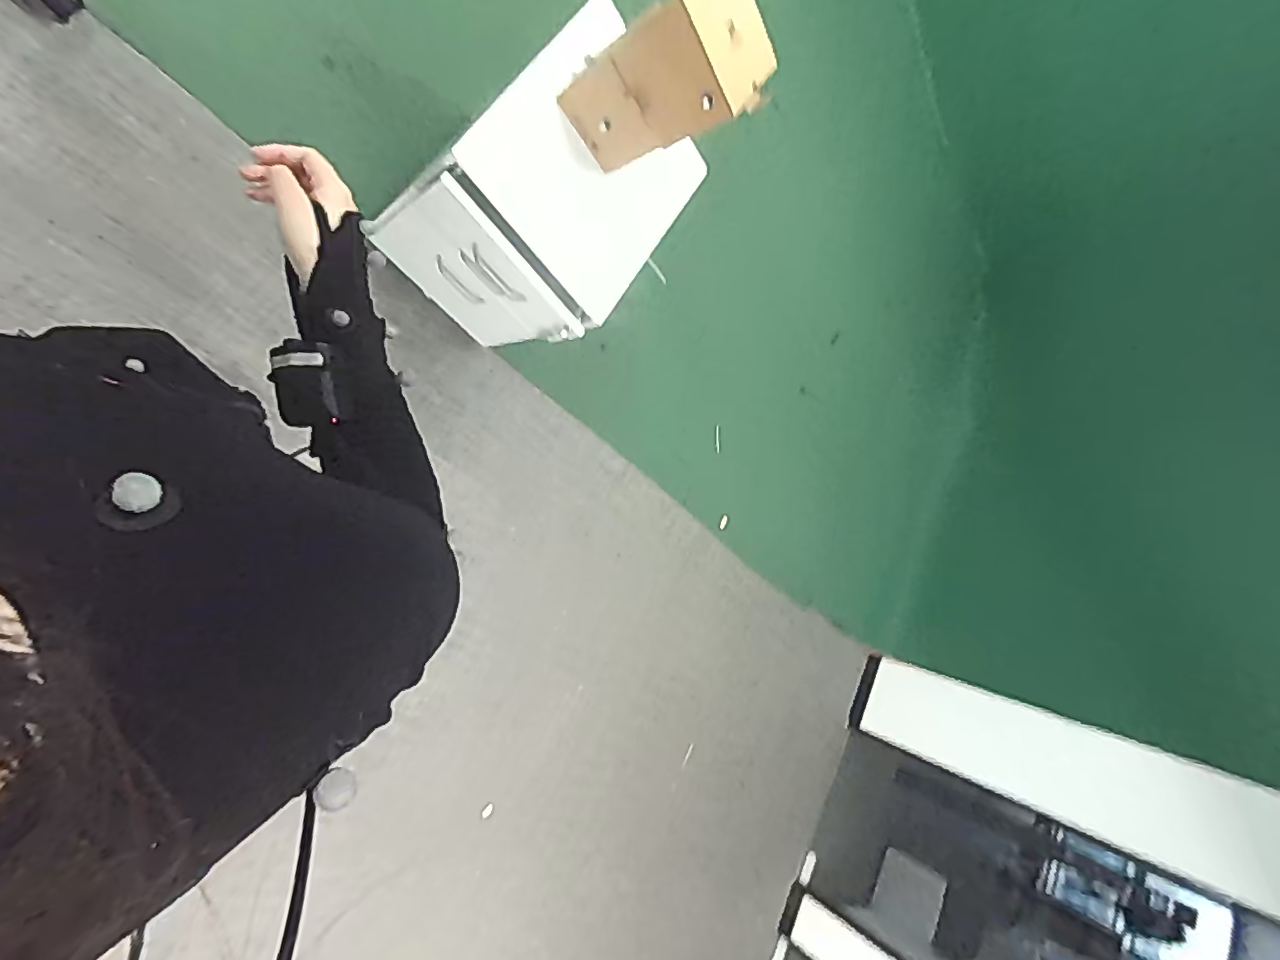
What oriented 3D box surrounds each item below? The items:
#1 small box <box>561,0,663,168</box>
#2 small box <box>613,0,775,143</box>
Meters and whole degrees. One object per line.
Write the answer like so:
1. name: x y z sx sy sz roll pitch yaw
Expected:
1. small box: -0.021 -0.726 1.010 0.168 0.176 0.179 45 68 -37
2. small box: 0.087 -0.704 0.890 0.179 0.176 0.168 48 65 -36
